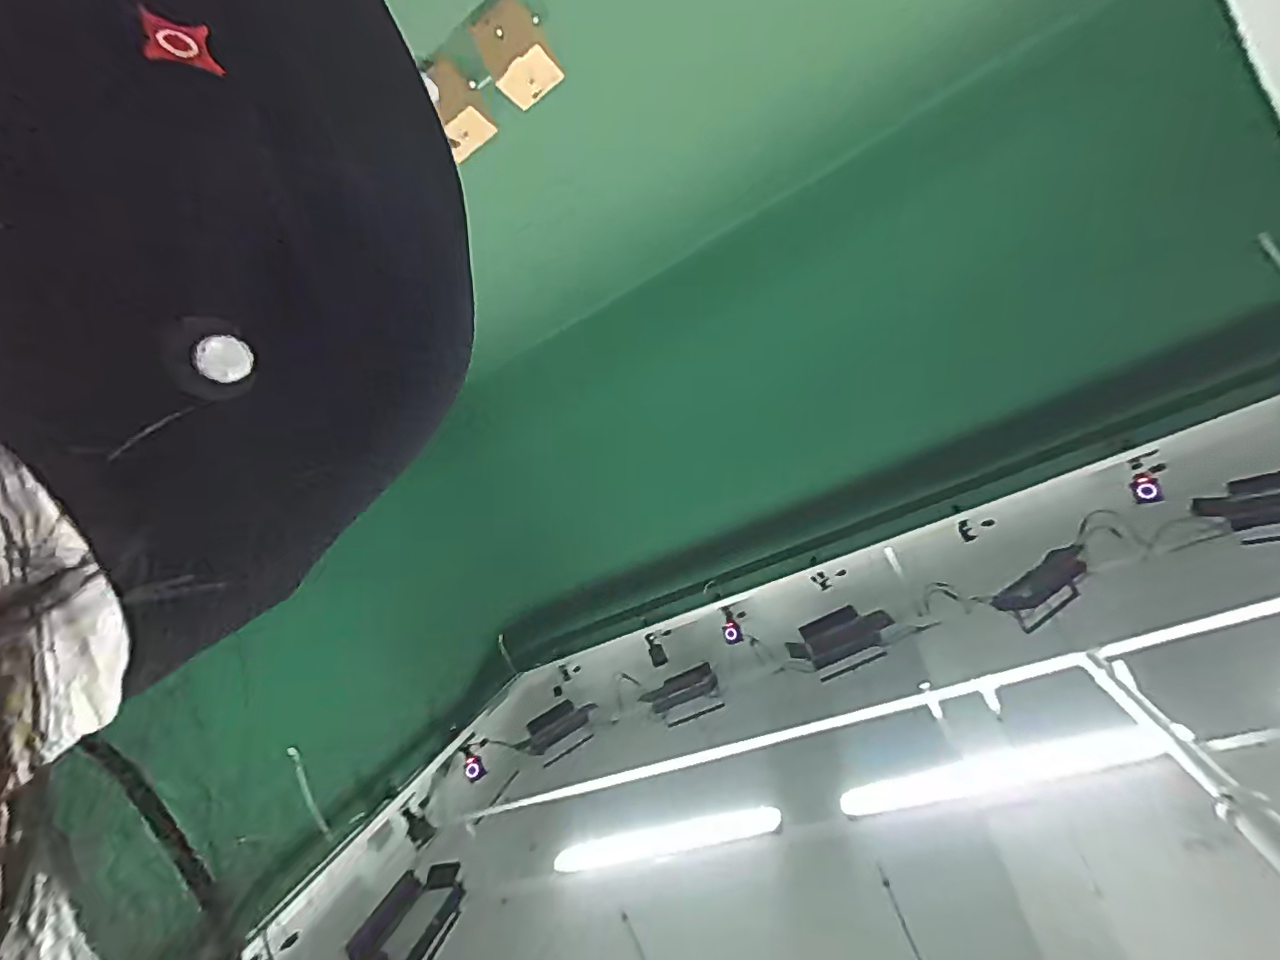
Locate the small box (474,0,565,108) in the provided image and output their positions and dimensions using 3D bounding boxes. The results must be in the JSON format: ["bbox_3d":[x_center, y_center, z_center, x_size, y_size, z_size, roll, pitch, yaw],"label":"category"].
[{"bbox_3d":[-0.357,-1.267,1.598,0.168,0.176,0.179,-25,180,21],"label":"small box"}]
